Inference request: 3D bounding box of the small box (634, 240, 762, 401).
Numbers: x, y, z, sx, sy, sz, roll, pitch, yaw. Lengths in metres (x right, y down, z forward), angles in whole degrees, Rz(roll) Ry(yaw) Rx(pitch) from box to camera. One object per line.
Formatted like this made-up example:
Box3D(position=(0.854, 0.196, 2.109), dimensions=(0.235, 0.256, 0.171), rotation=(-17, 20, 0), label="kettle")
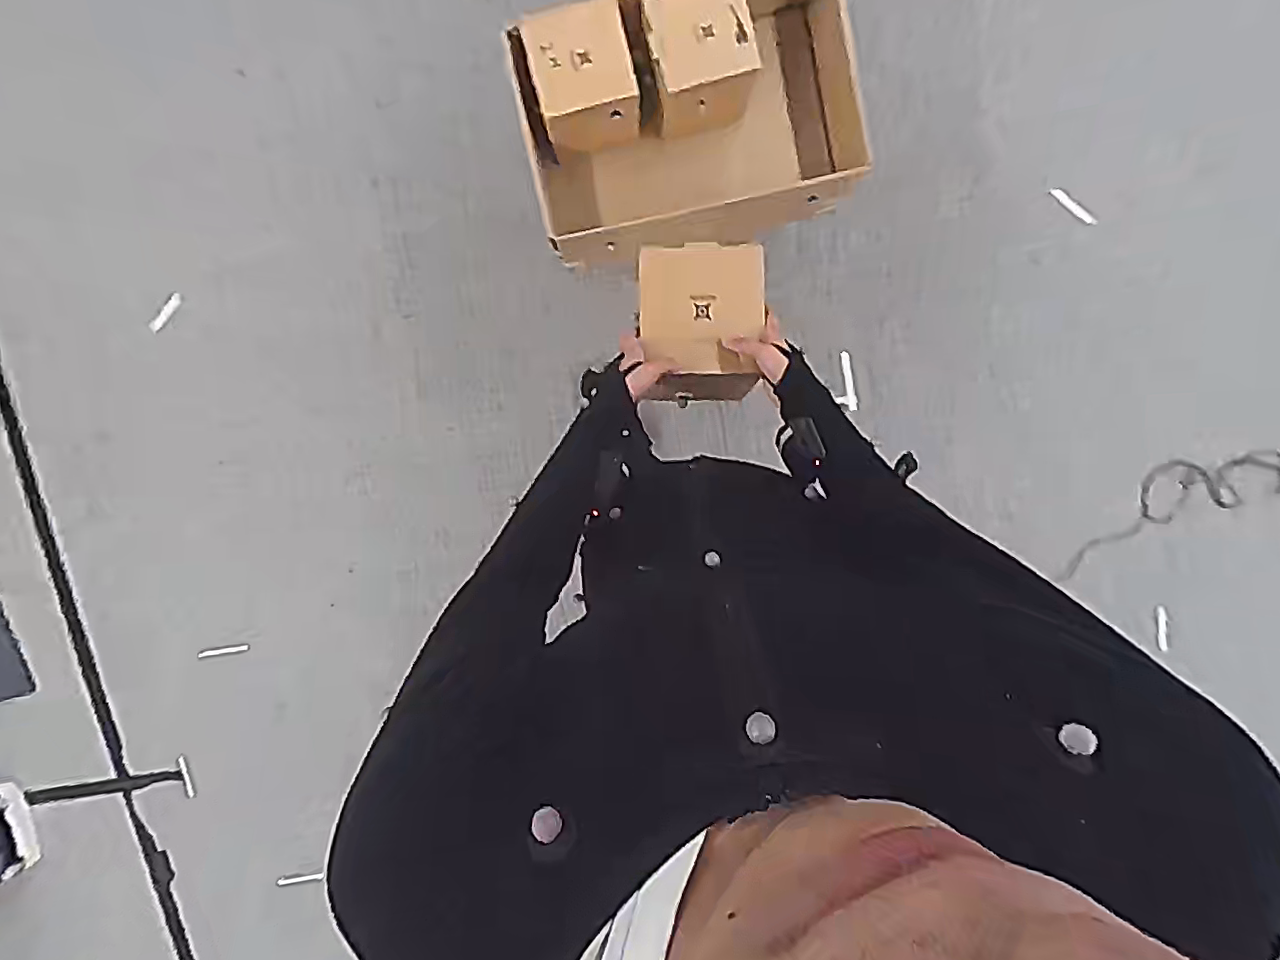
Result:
Box3D(position=(0.075, -0.220, 0.780), dimensions=(0.168, 0.176, 0.179), rotation=(0, 86, 0), label="small box")
